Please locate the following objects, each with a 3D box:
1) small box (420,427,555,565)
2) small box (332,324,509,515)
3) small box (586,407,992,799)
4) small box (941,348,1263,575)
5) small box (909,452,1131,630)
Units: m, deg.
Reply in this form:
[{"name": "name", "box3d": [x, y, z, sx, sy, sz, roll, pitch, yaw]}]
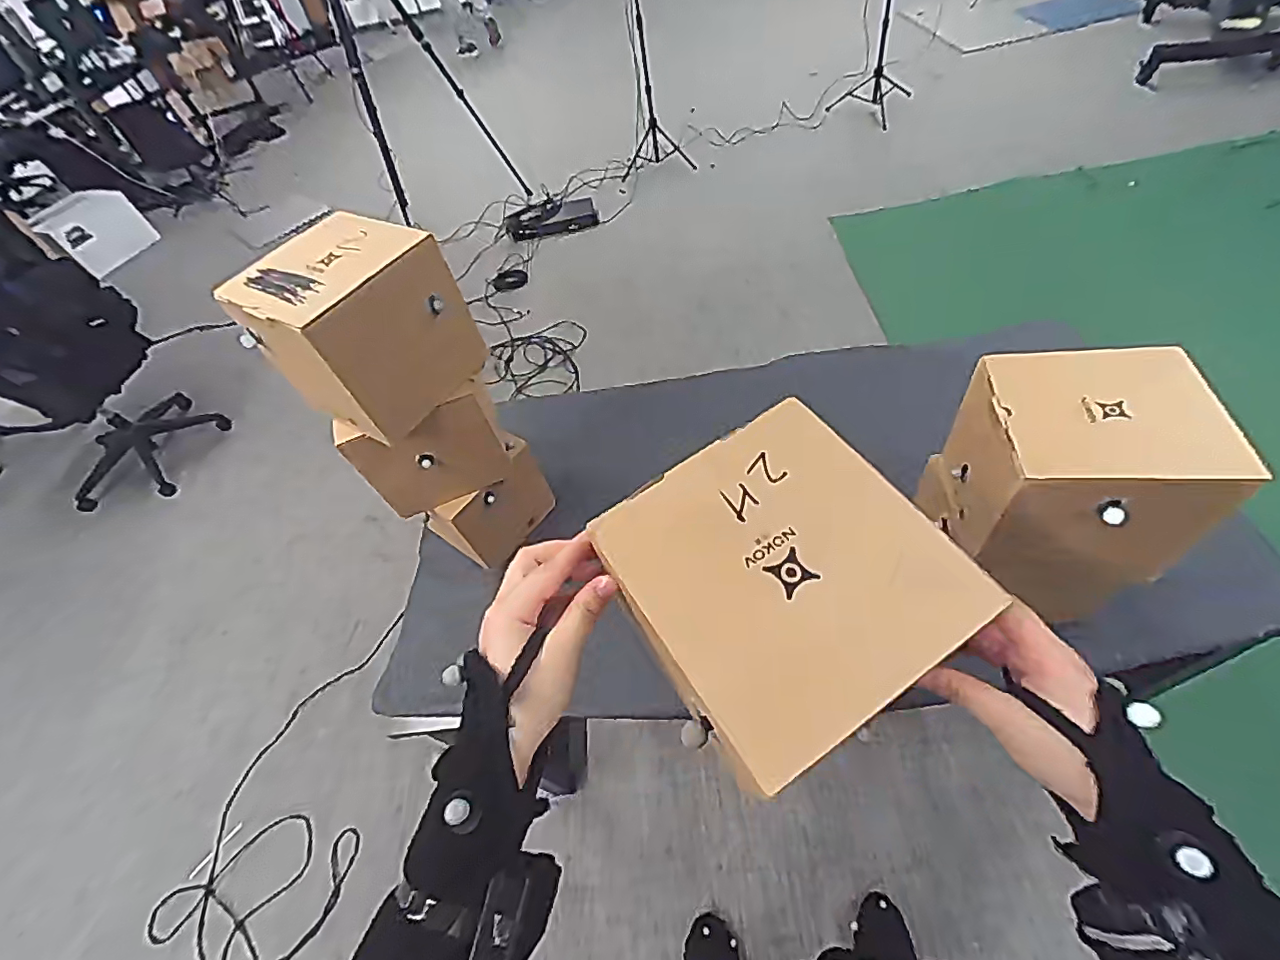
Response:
[{"name": "small box", "box3d": [-0.272, 0.013, 0.896, 0.179, 0.176, 0.168, 27, 63, 28]}, {"name": "small box", "box3d": [-0.300, -0.082, 0.764, 0.179, 0.176, 0.168, -23, 53, -5]}, {"name": "small box", "box3d": [0.086, 0.089, 0.383, 0.168, 0.176, 0.179, -32, 63, -12]}, {"name": "small box", "box3d": [0.435, -0.014, 0.553, 0.179, 0.176, 0.168, 0, 52, 14]}, {"name": "small box", "box3d": [0.463, 0.074, 0.688, 0.168, 0.176, 0.179, -8, 51, 7]}]
